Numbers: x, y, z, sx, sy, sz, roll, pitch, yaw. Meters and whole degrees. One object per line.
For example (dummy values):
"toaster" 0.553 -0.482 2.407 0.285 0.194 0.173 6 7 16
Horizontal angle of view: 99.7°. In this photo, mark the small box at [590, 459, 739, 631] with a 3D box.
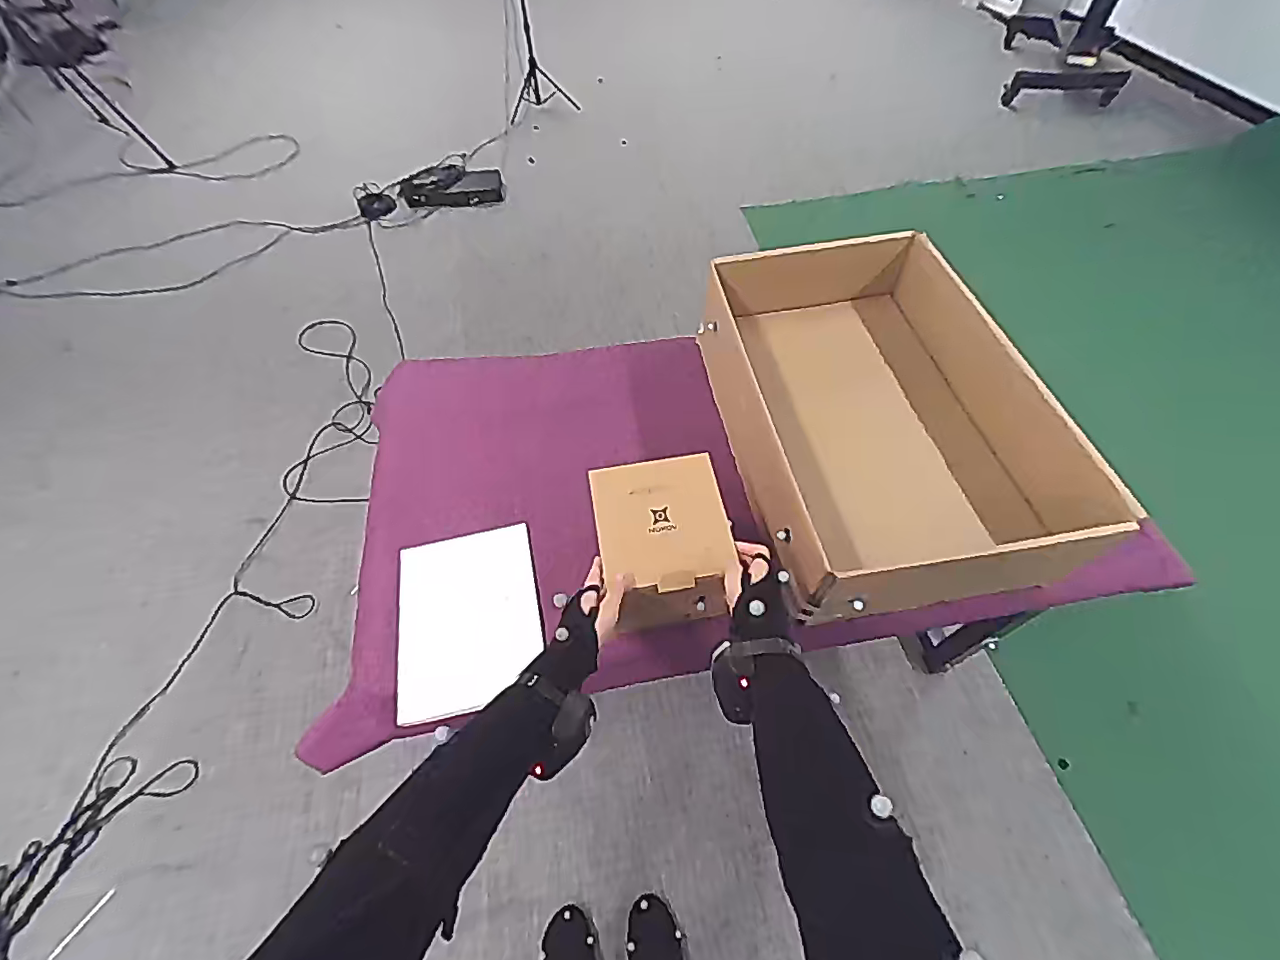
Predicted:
"small box" 0.027 0.097 0.745 0.168 0.176 0.179 -8 58 -5
